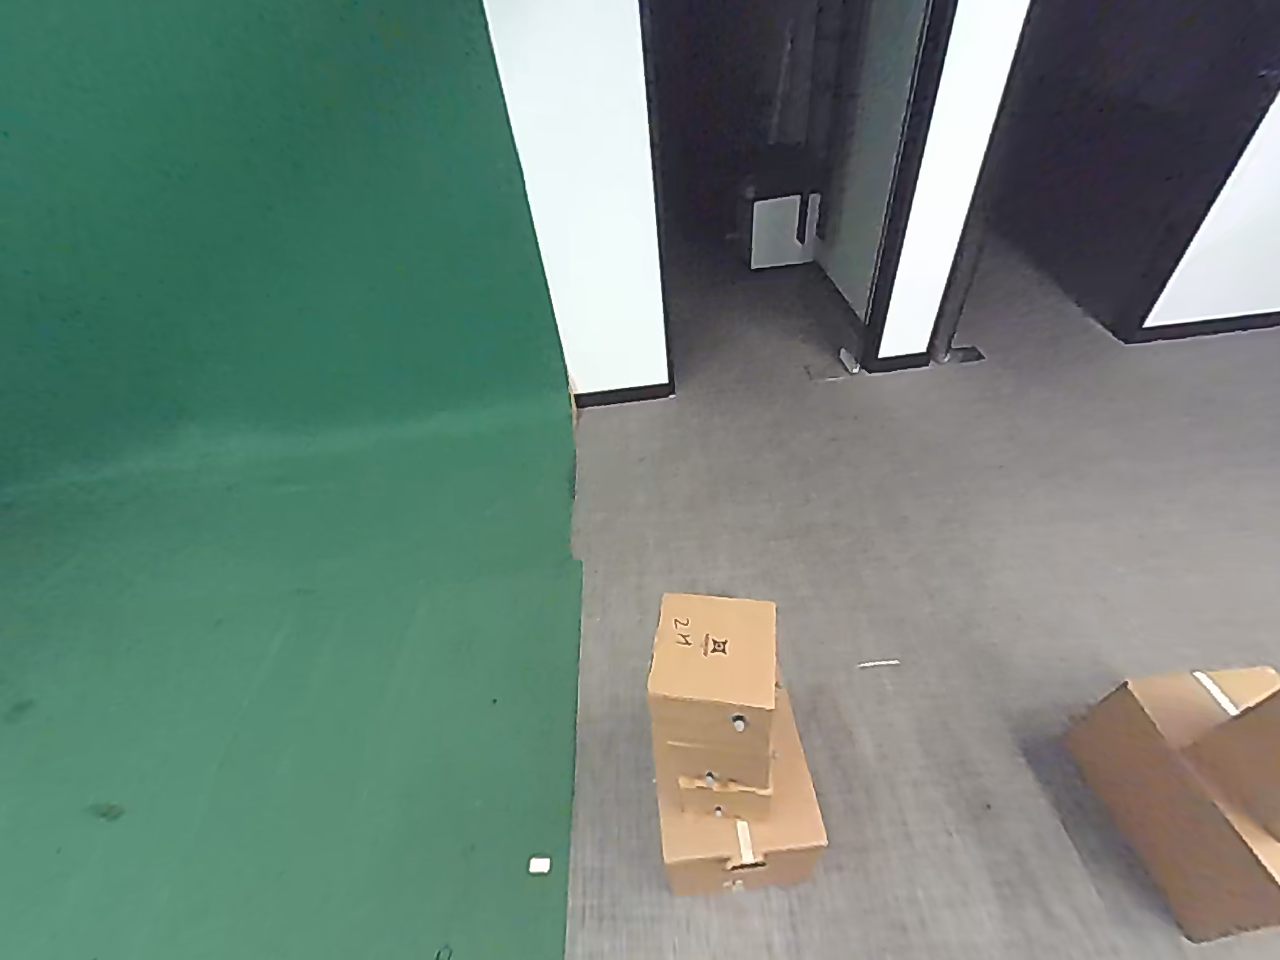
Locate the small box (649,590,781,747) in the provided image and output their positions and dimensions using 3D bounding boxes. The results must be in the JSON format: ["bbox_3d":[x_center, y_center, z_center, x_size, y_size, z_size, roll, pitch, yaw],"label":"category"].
[{"bbox_3d":[0.122,0.292,0.835,0.179,0.176,0.168,2,45,13],"label":"small box"}]

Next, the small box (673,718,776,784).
[{"bbox_3d":[0.151,0.405,0.952,0.168,0.176,0.179,2,46,13],"label":"small box"}]

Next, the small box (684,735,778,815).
[{"bbox_3d":[0.177,0.527,1.057,0.168,0.176,0.179,0,45,10],"label":"small box"}]

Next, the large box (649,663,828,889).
[{"bbox_3d":[0.208,0.664,1.261,0.320,0.320,0.408,-8,43,2],"label":"large box"}]
